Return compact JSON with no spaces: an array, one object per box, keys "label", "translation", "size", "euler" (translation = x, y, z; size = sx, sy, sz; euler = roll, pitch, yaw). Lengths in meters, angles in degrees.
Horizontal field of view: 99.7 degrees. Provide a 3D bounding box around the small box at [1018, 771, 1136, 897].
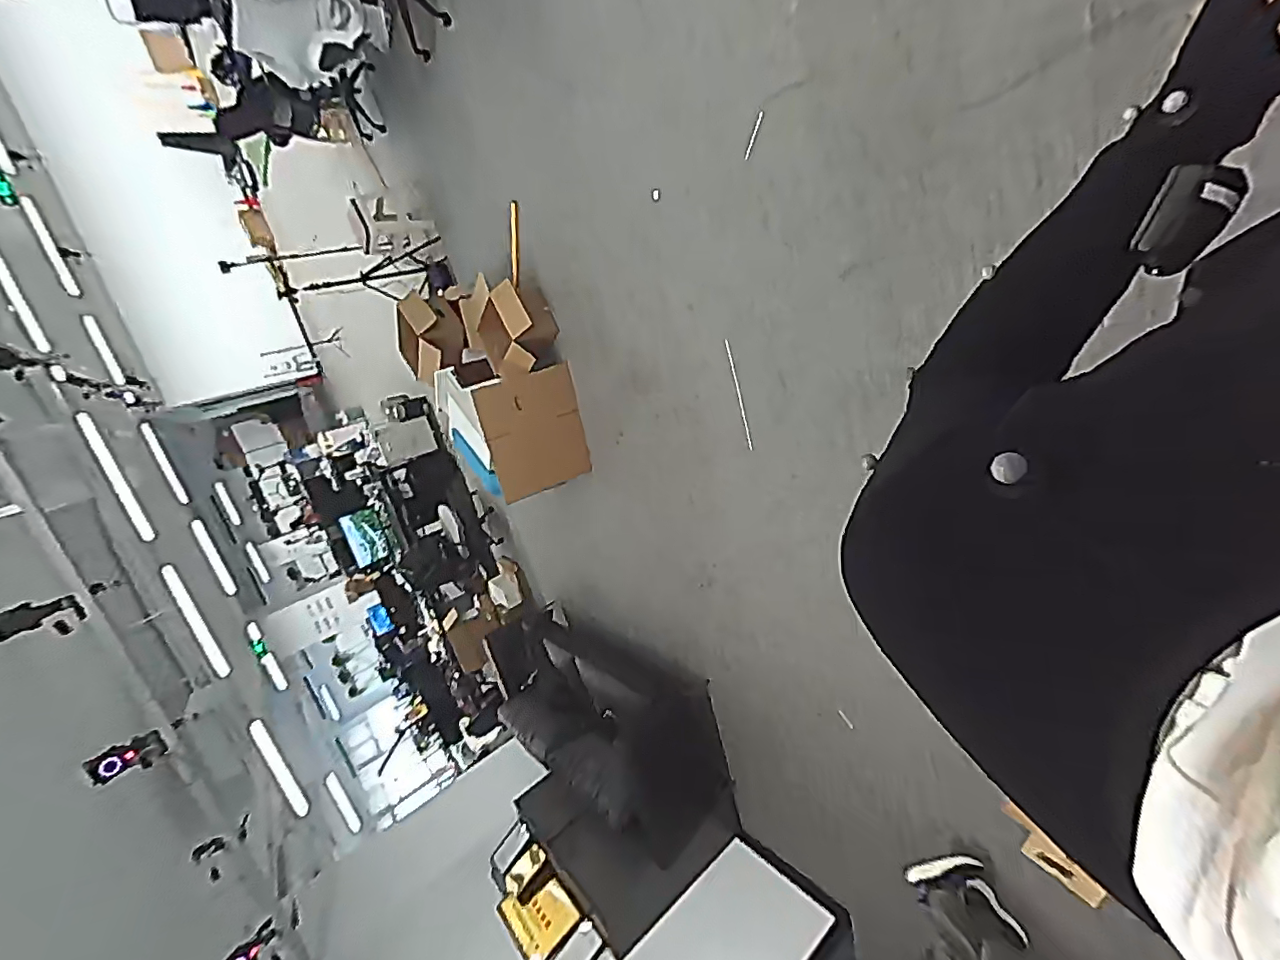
[{"label":"small box","translation":[1.112,0.893,1.376],"size":[0.168,0.176,0.179],"euler":[31,133,41]}]
